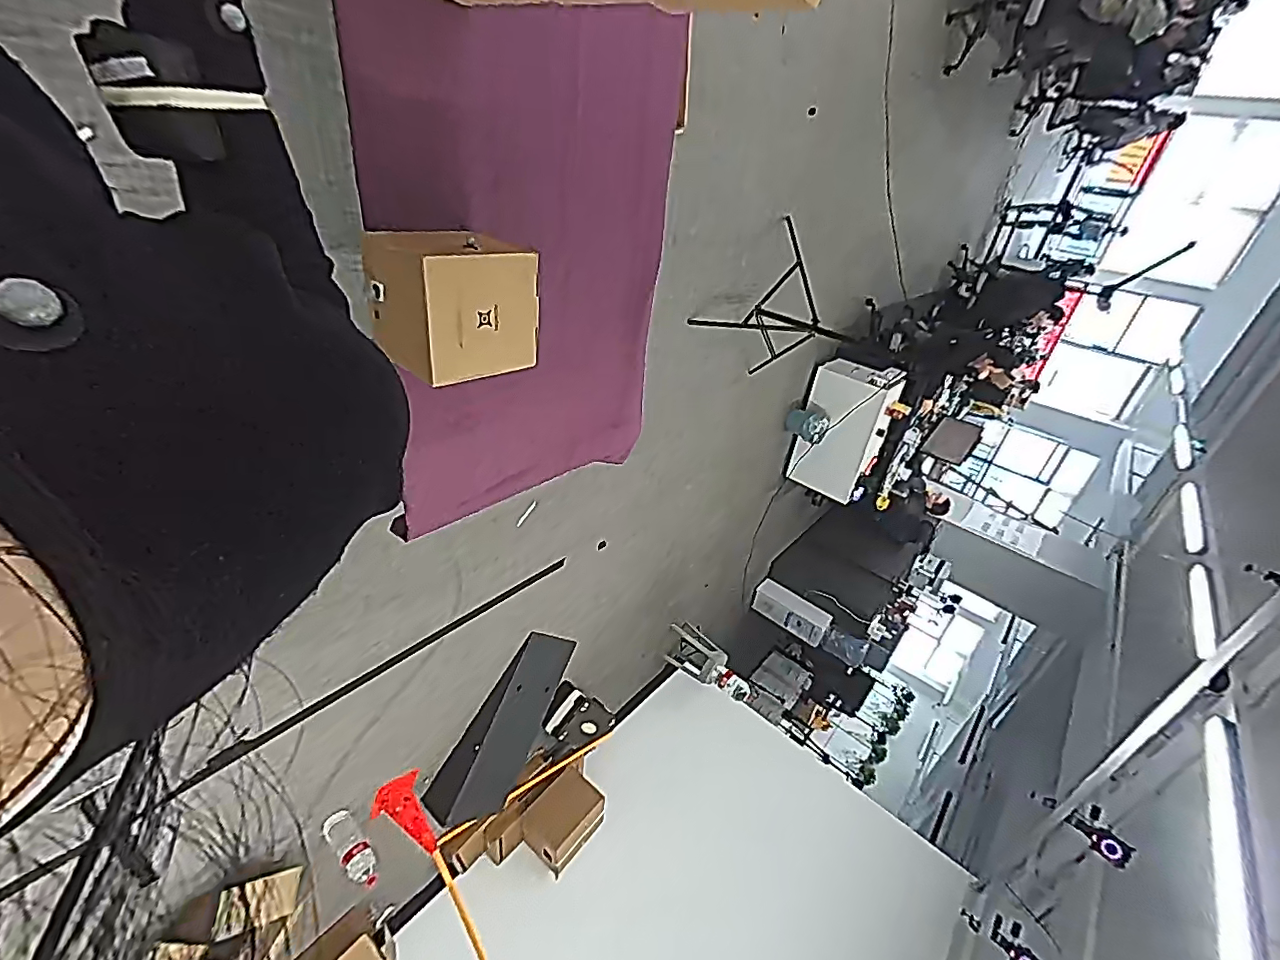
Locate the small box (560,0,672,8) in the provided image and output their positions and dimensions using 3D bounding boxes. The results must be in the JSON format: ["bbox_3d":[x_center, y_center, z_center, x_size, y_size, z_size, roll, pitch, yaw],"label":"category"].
[{"bbox_3d":[-0.069,-0.553,0.478,0.179,0.176,0.168,-22,133,-45],"label":"small box"}]

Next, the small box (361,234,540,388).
[{"bbox_3d":[-0.264,-0.251,0.773,0.179,0.176,0.168,-26,134,-42],"label":"small box"}]

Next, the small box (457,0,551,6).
[{"bbox_3d":[-0.197,-0.624,0.554,0.168,0.176,0.179,-23,133,-46],"label":"small box"}]
